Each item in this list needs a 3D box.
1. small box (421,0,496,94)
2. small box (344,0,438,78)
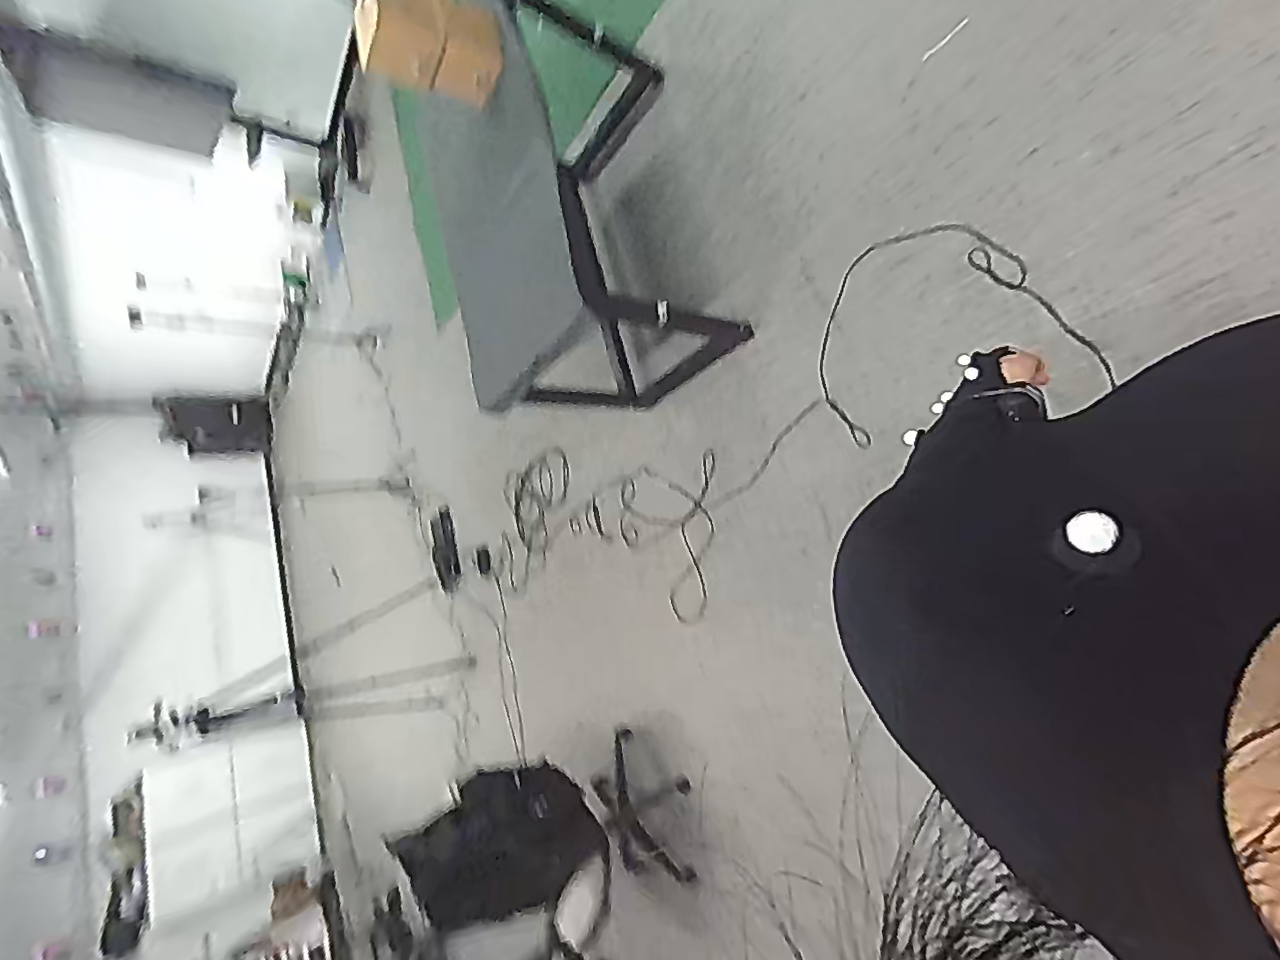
[{"bbox_3d":[-0.524,-1.239,1.515,0.168,0.176,0.179,-22,78,48],"label":"small box"},{"bbox_3d":[-0.651,-1.210,1.413,0.168,0.176,0.179,-24,78,48],"label":"small box"}]
